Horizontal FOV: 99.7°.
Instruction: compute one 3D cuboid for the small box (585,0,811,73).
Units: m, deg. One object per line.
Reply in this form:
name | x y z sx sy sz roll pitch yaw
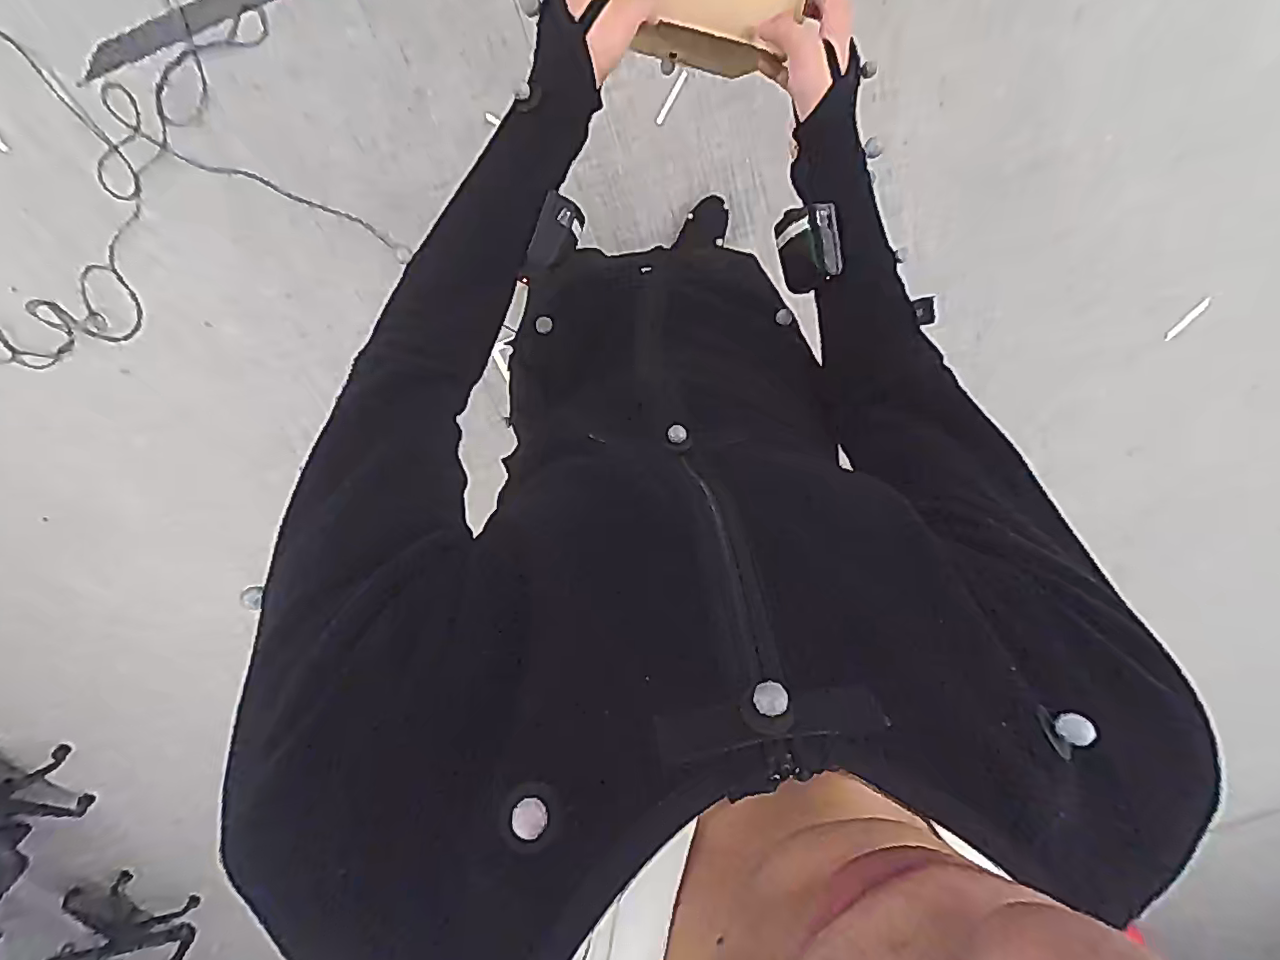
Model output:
small box | 0.056 -0.496 0.495 0.179 0.176 0.168 4 120 -16
